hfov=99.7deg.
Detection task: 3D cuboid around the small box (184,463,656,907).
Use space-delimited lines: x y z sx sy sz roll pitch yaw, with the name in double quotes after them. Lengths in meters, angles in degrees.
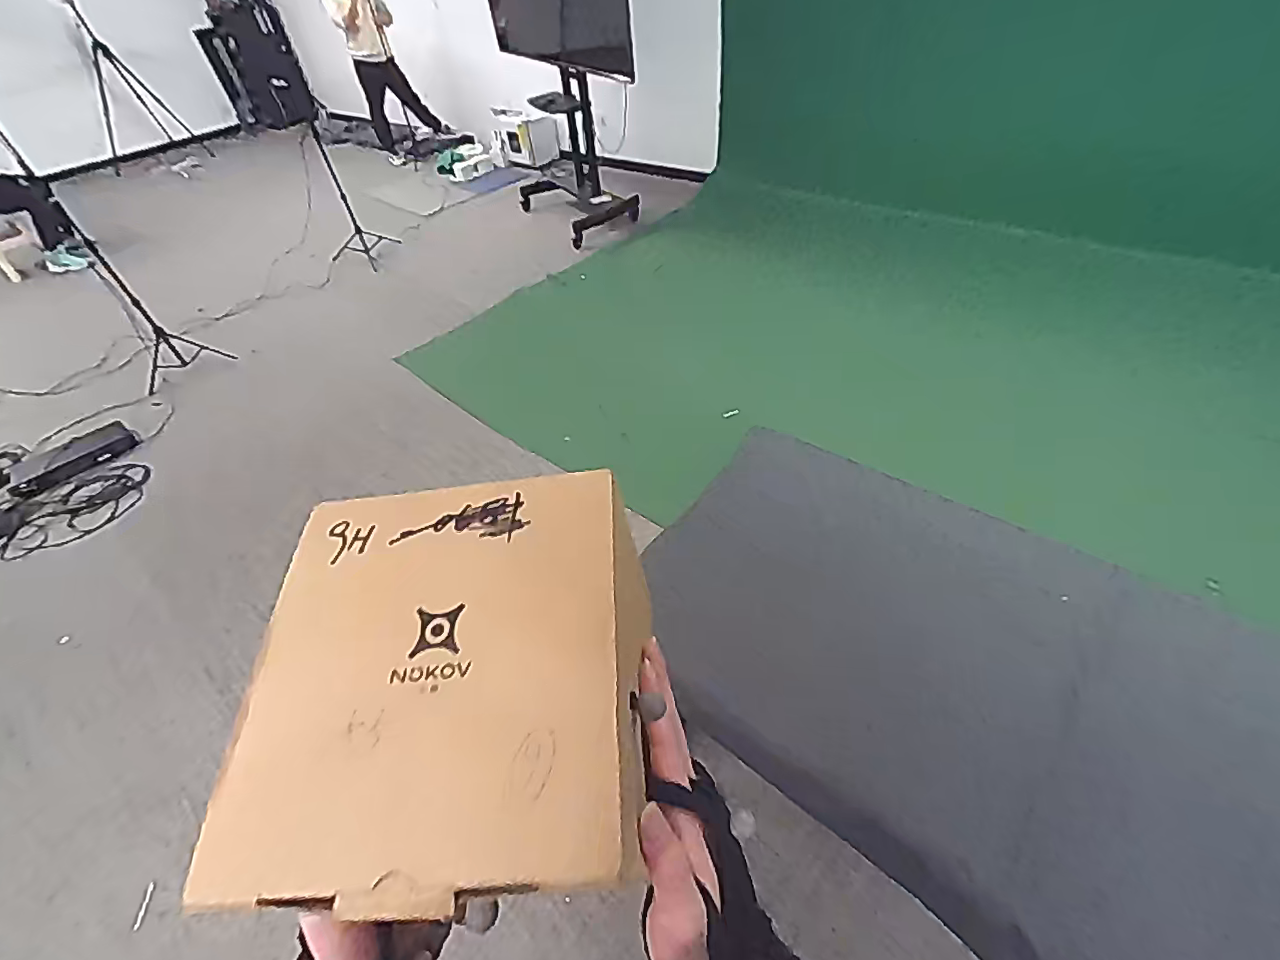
-0.081 0.114 0.301 0.168 0.176 0.179 -5 56 2 "small box"
